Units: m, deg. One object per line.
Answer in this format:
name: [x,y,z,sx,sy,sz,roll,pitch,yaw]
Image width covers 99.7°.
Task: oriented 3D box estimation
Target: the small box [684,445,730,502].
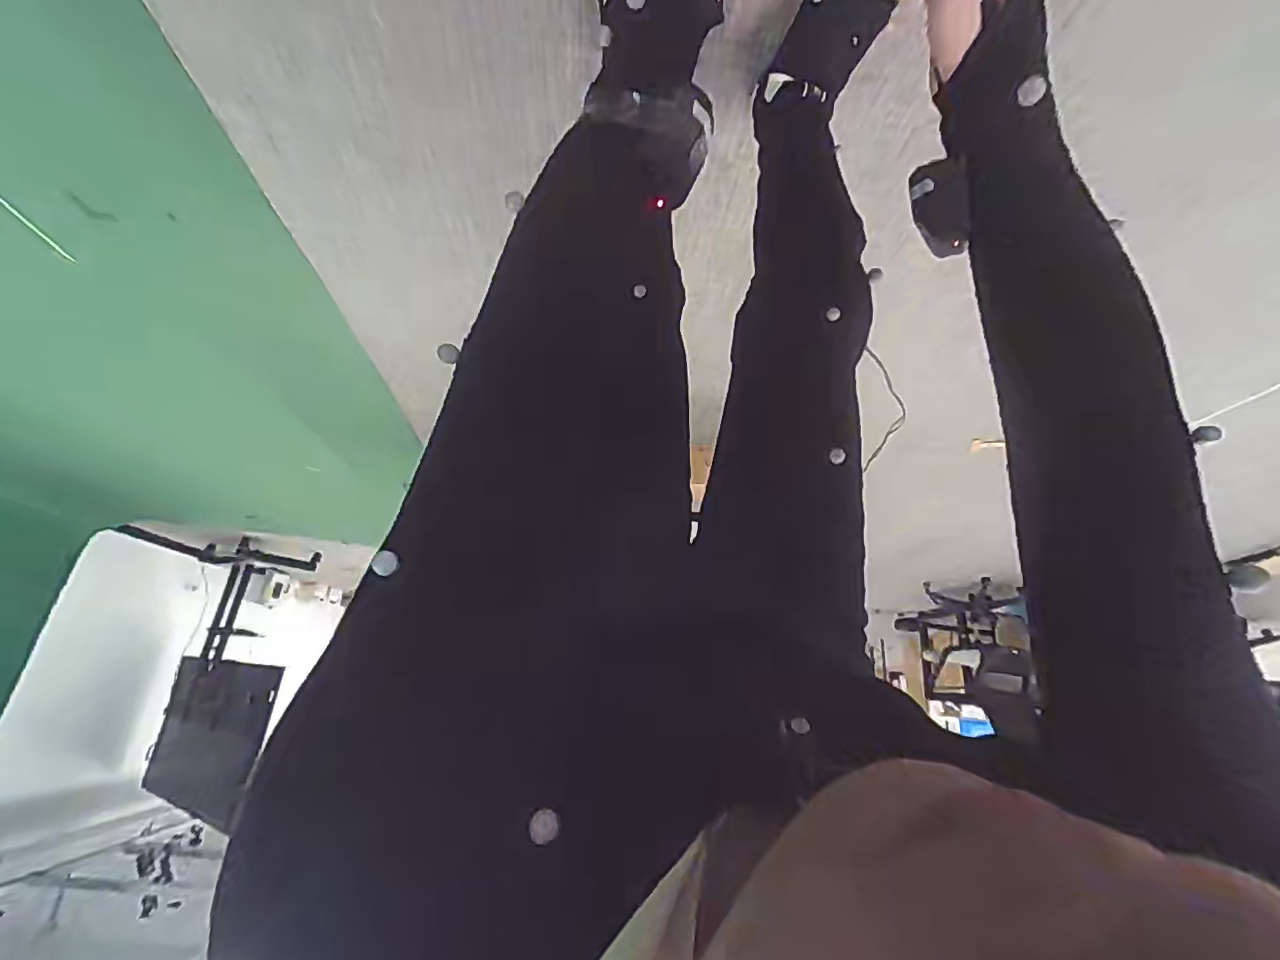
small box: [0.259,-0.025,2.098,0.168,0.176,0.179,4,158,5]
